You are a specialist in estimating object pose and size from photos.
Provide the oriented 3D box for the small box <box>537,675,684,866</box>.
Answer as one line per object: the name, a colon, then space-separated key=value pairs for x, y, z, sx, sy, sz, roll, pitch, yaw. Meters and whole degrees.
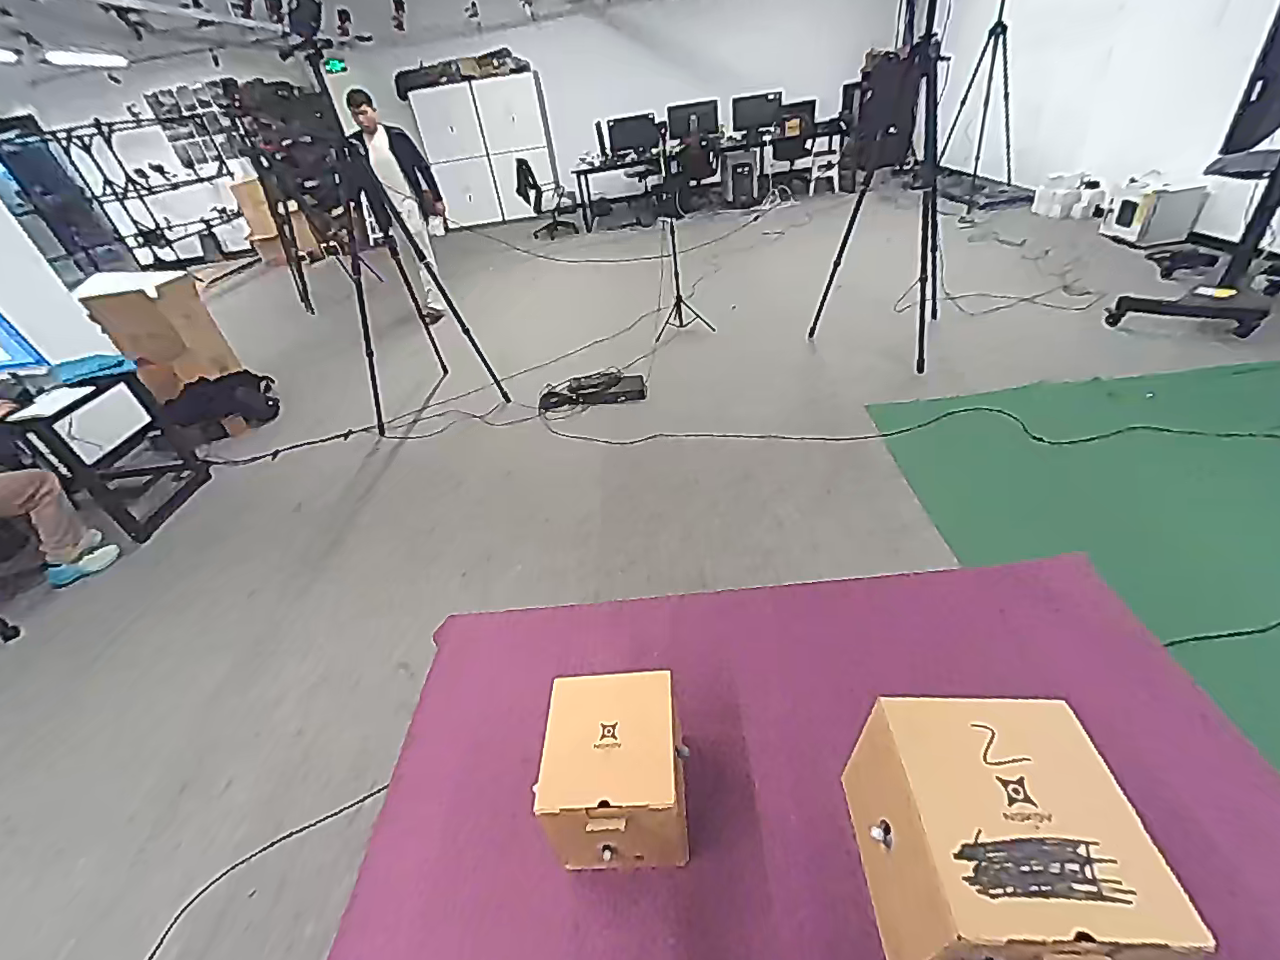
small box: x=-0.030 y=0.395 z=0.740 sx=0.168 sy=0.176 sz=0.179 roll=-6 pitch=36 yaw=5
